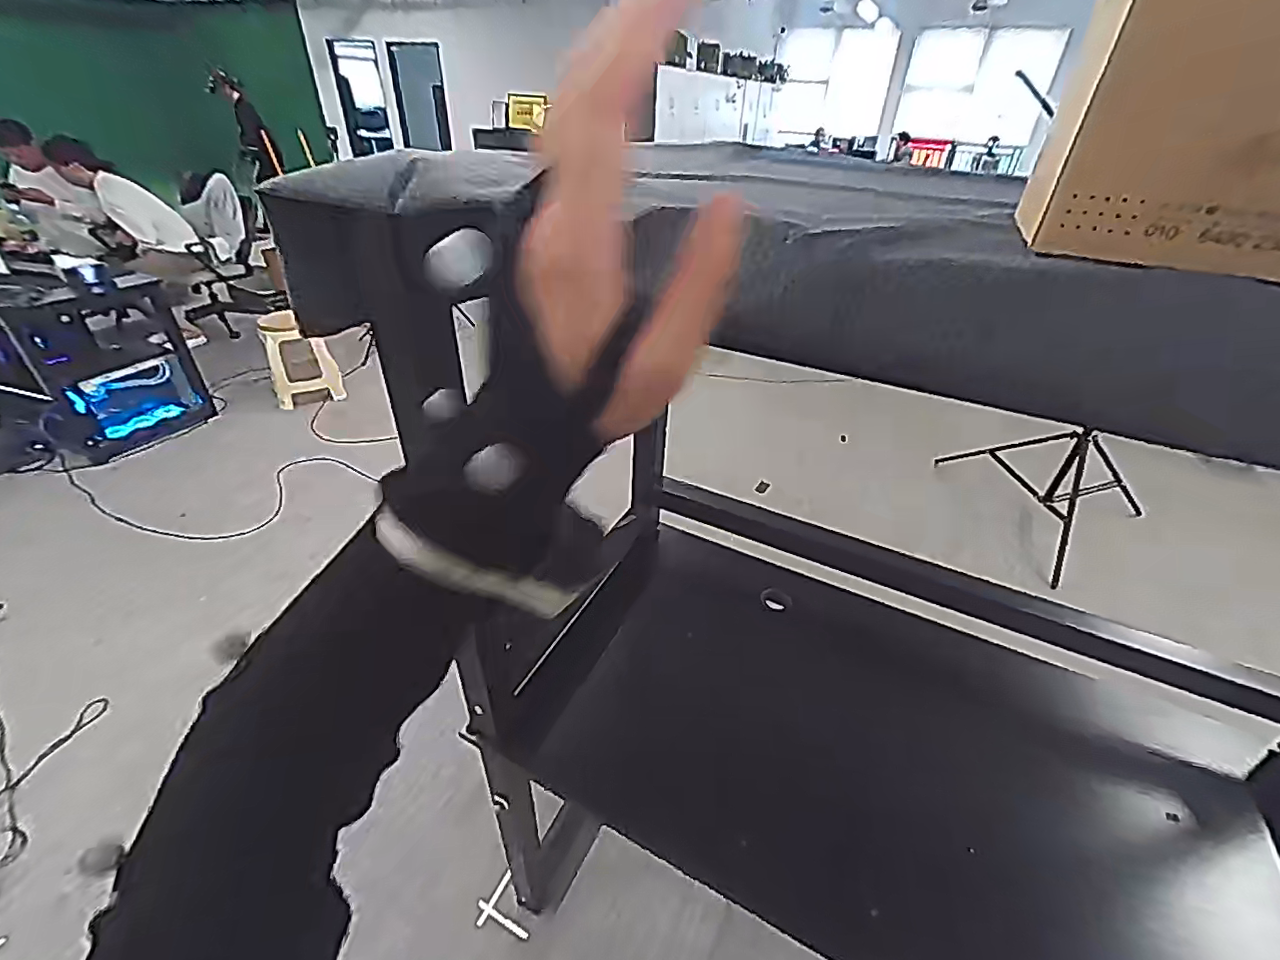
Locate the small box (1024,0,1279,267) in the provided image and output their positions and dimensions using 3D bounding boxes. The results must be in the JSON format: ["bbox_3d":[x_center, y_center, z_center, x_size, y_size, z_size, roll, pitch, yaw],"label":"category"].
[{"bbox_3d":[0.310,-0.202,0.254,0.168,0.176,0.179,19,36,22],"label":"small box"}]
